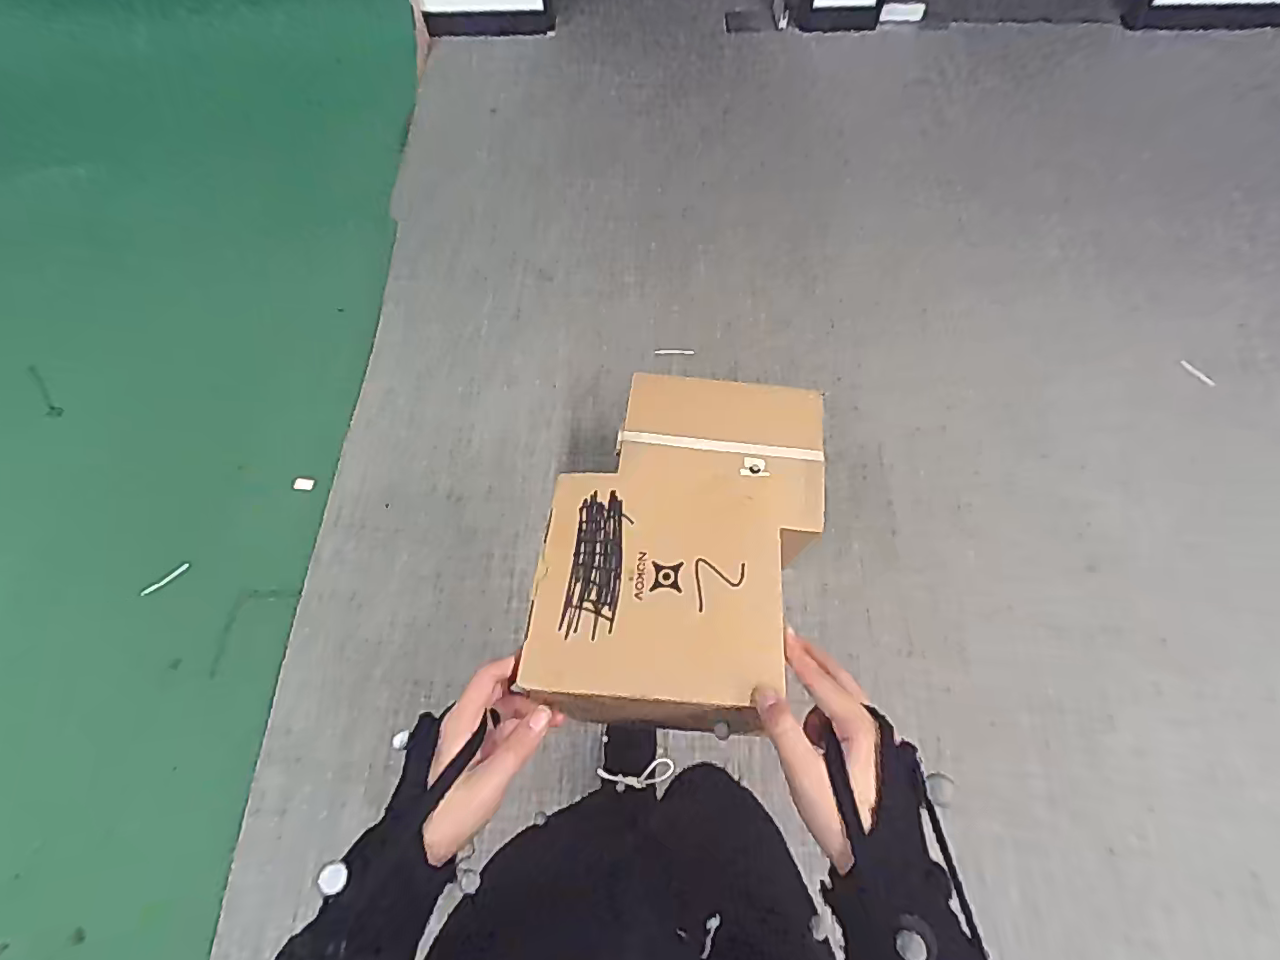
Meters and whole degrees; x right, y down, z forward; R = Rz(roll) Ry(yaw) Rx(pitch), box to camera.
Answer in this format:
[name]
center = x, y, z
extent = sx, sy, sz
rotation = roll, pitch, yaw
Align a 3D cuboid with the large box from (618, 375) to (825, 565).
[large box]
center = 0.167, -0.009, 1.219
extent = 0.408, 0.320, 0.320
rotation = 7, 69, 2
